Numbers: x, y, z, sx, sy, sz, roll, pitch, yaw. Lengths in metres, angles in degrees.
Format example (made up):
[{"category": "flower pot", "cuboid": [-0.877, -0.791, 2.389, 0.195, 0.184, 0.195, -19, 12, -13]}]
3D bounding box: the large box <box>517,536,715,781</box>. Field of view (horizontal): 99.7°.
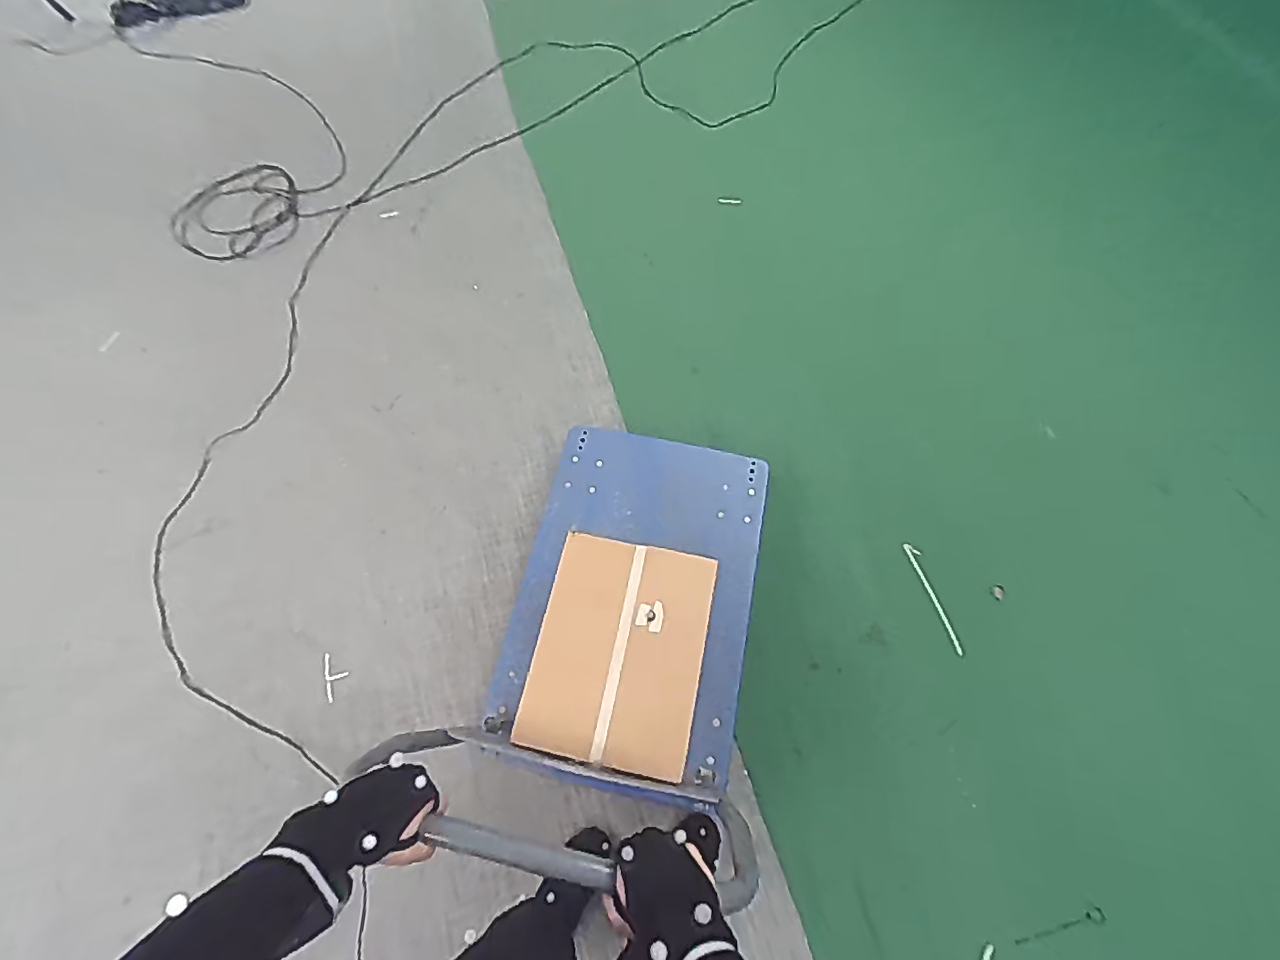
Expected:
[{"category": "large box", "cuboid": [-0.030, 0.380, 1.156, 0.320, 0.320, 0.408, 11, 66, 6]}]
